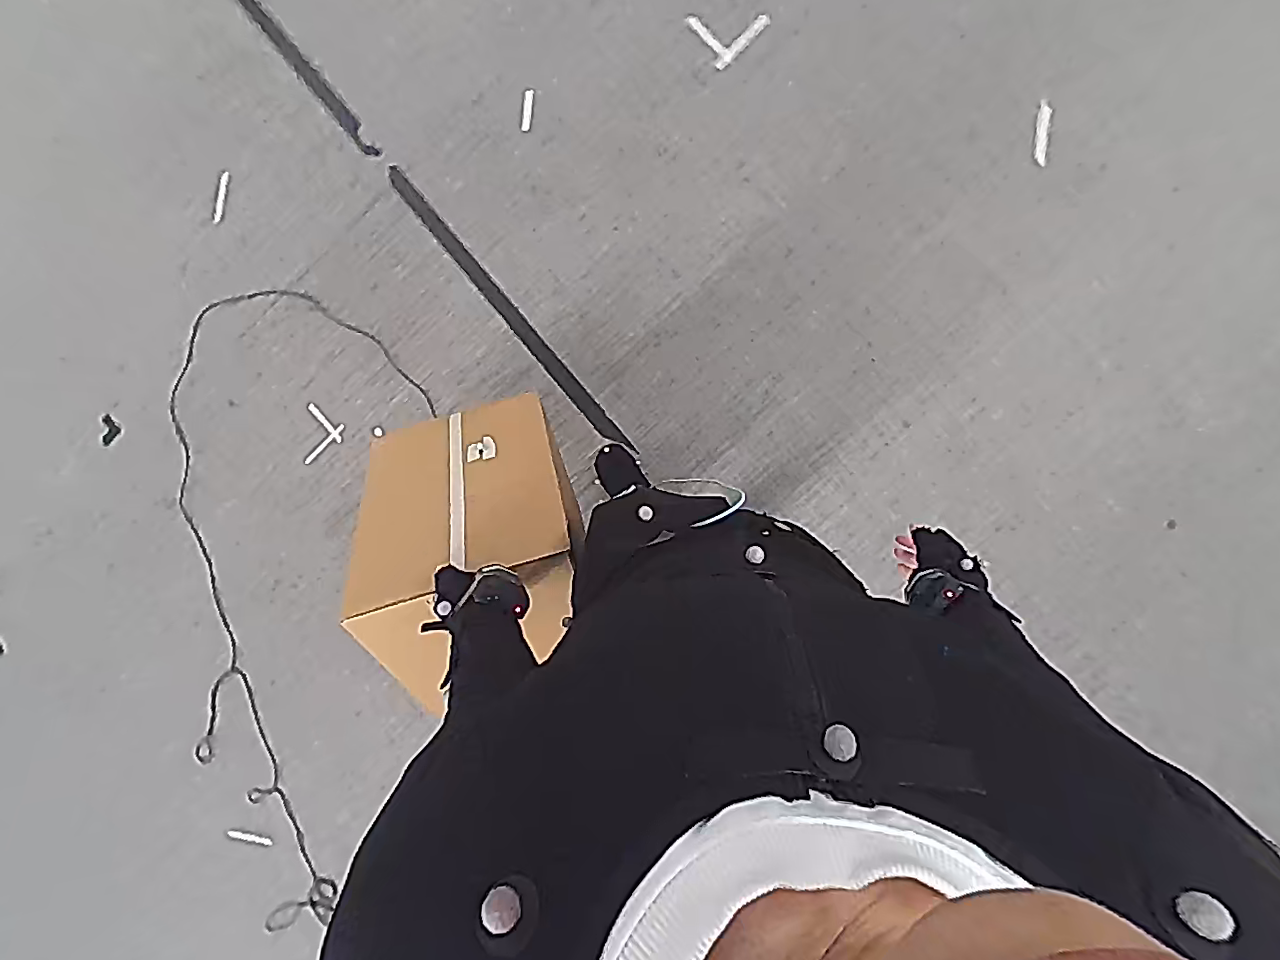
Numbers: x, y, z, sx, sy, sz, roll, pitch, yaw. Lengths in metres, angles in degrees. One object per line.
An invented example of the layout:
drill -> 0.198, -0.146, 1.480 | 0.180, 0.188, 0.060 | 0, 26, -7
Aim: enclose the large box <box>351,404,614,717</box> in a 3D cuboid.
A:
large box -> -0.264, 0.131, 0.973 | 0.320, 0.408, 0.320 | -17, 132, -4
